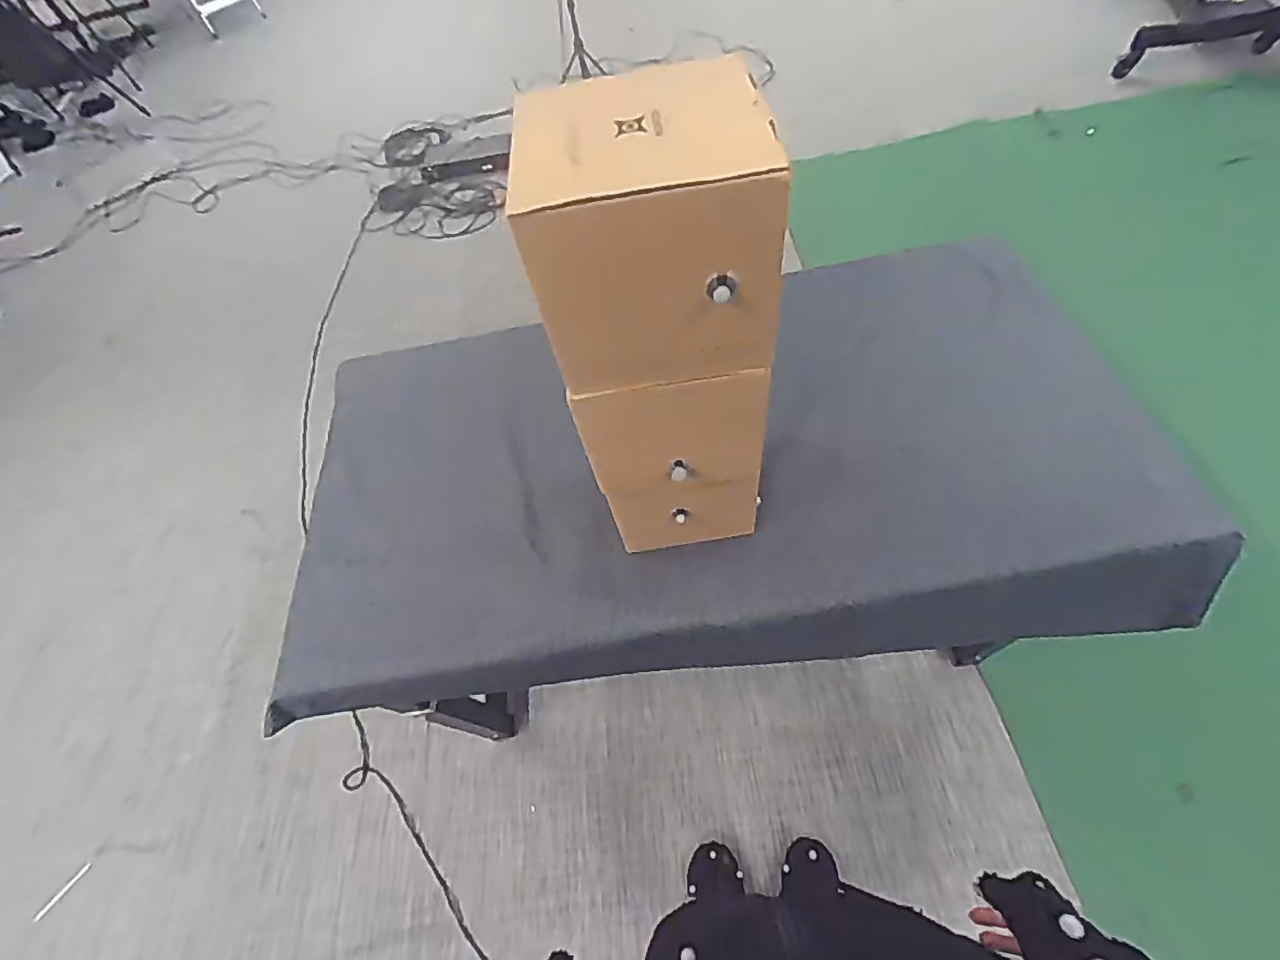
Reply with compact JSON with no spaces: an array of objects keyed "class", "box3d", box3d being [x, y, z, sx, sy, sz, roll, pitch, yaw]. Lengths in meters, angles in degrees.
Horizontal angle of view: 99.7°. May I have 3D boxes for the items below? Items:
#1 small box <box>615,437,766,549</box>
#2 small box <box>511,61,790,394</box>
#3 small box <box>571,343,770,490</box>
[{"class":"small box","box3d":[0.053,-0.027,0.716,0.179,0.176,0.168,-12,58,0]},{"class":"small box","box3d":[0.009,-0.193,0.439,0.179,0.176,0.168,-9,57,4]},{"class":"small box","box3d":[0.028,-0.106,0.575,0.179,0.176,0.168,-8,57,3]}]
